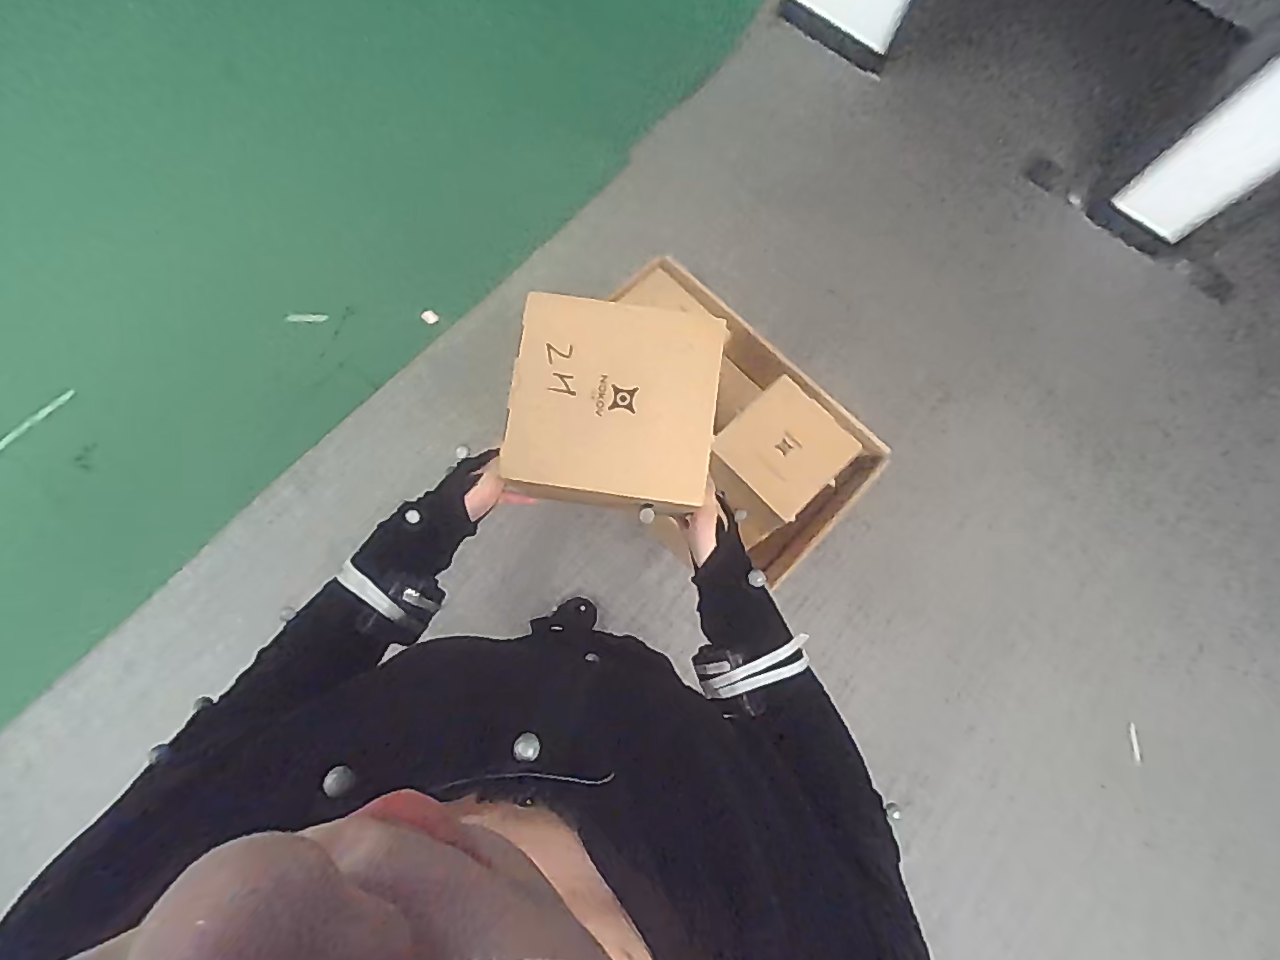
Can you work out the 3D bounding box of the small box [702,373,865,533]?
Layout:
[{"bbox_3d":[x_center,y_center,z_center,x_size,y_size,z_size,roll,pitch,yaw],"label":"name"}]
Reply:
[{"bbox_3d":[0.220,-0.036,0.883,0.179,0.176,0.168,-41,80,-10],"label":"small box"}]

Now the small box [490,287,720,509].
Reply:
[{"bbox_3d":[-0.028,-0.065,0.534,0.179,0.176,0.168,8,82,1],"label":"small box"}]
